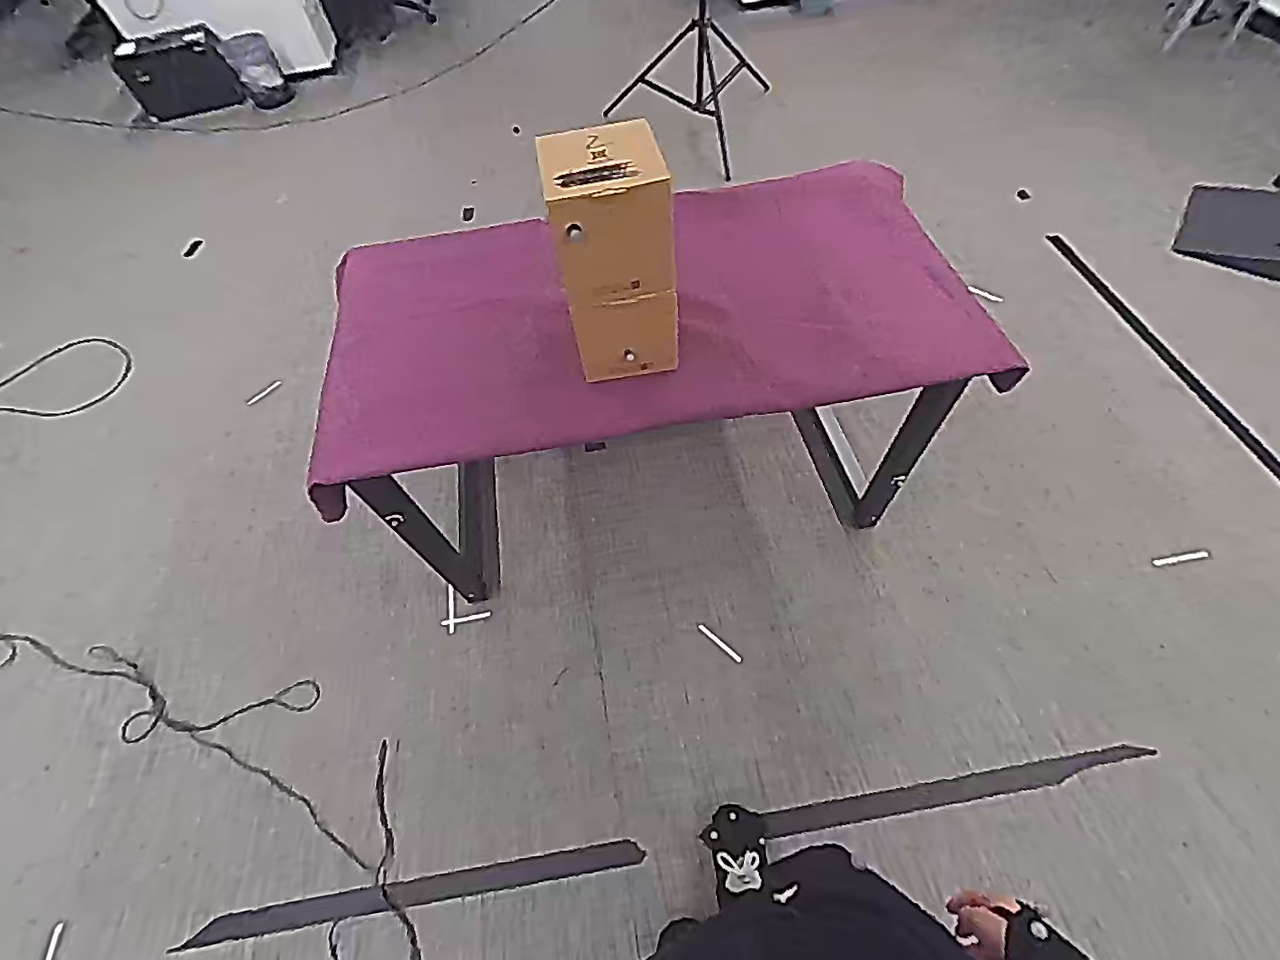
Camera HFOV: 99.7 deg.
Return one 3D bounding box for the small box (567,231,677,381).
[{"bbox_3d":[-0.029,-0.298,0.939,0.168,0.176,0.179,-9,58,0],"label":"small box"}]
